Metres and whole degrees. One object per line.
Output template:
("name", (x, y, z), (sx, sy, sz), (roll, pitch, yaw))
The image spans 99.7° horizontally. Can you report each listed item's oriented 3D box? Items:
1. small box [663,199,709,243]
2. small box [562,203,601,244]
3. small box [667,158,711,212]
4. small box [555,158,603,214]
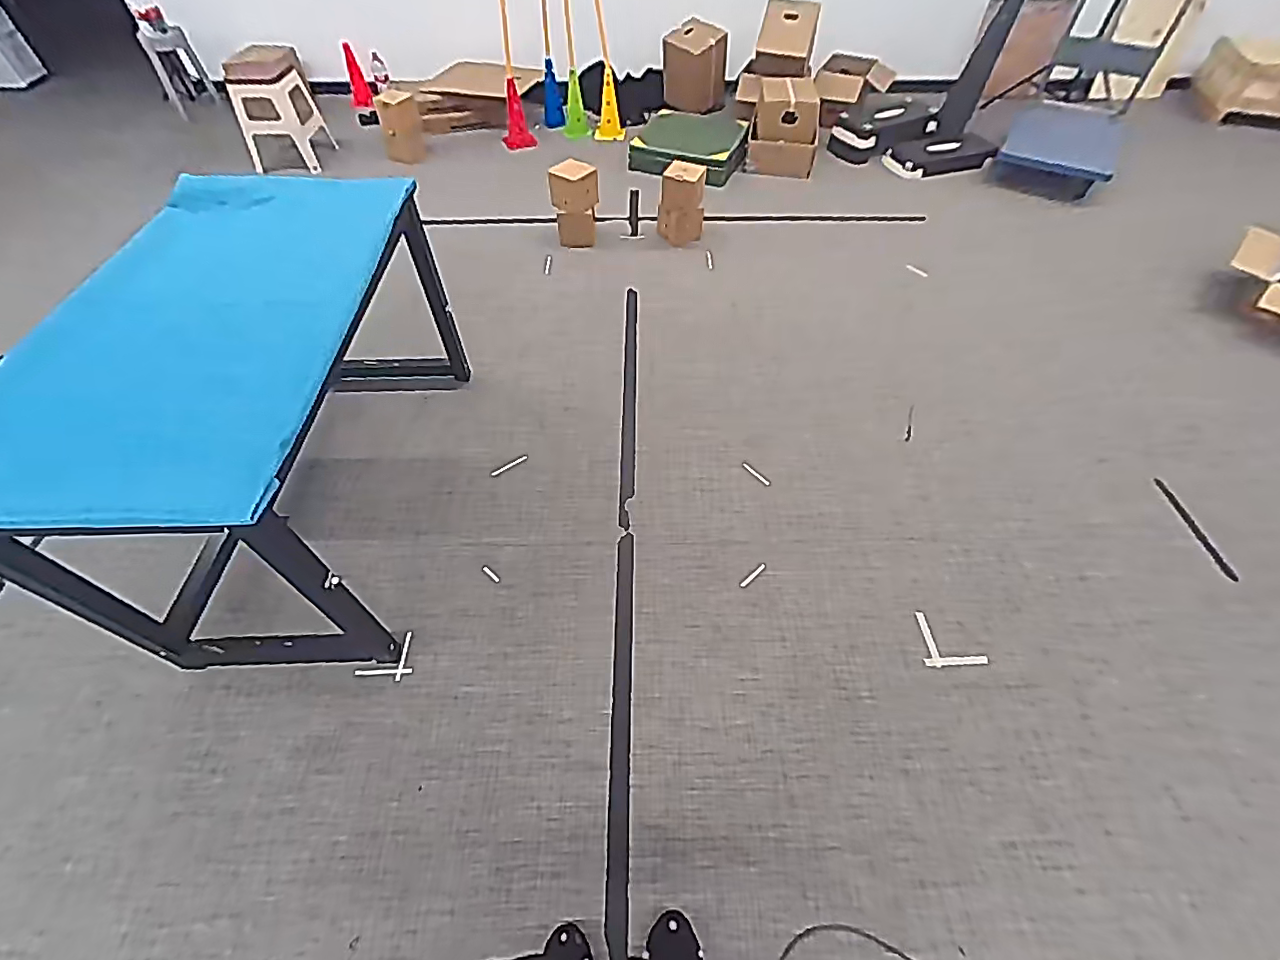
("small box", (0.231, -1.342, 2.770), (0.179, 0.176, 0.168), (-27, 57, -20))
("small box", (-0.293, -1.321, 2.753), (0.179, 0.176, 0.168), (1, 52, 2))
("small box", (0.237, -1.432, 2.630), (0.168, 0.176, 0.179), (20, 55, 12))
("small box", (-0.297, -1.432, 2.628), (0.179, 0.176, 0.168), (28, 57, 19))
